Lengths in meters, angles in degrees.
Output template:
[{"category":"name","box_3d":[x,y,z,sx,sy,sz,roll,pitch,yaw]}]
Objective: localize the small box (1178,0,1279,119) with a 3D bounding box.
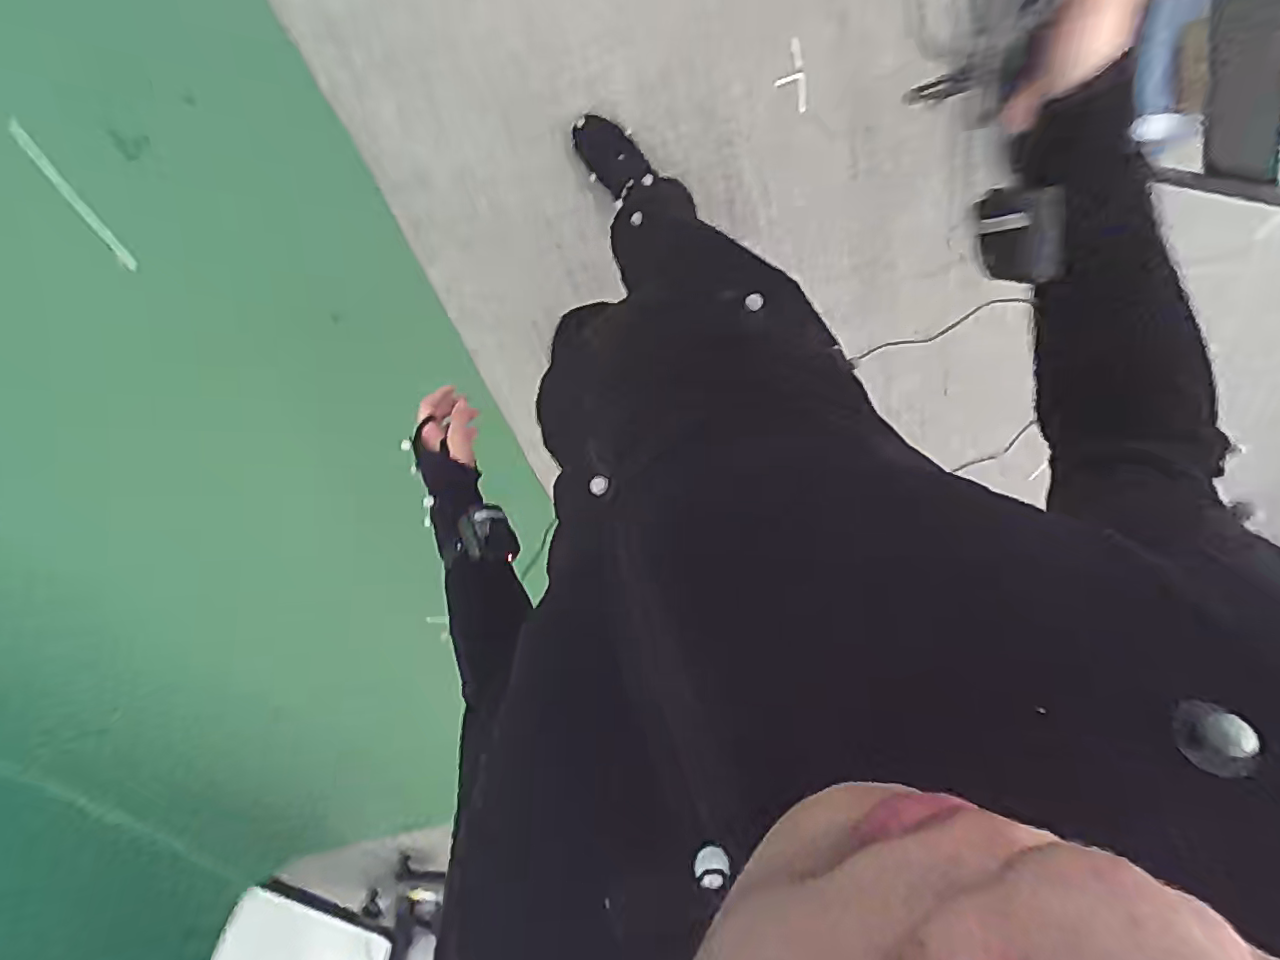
[{"category":"small box","box_3d":[1.170,-0.806,1.001,0.179,0.176,0.168,-24,124,14]}]
